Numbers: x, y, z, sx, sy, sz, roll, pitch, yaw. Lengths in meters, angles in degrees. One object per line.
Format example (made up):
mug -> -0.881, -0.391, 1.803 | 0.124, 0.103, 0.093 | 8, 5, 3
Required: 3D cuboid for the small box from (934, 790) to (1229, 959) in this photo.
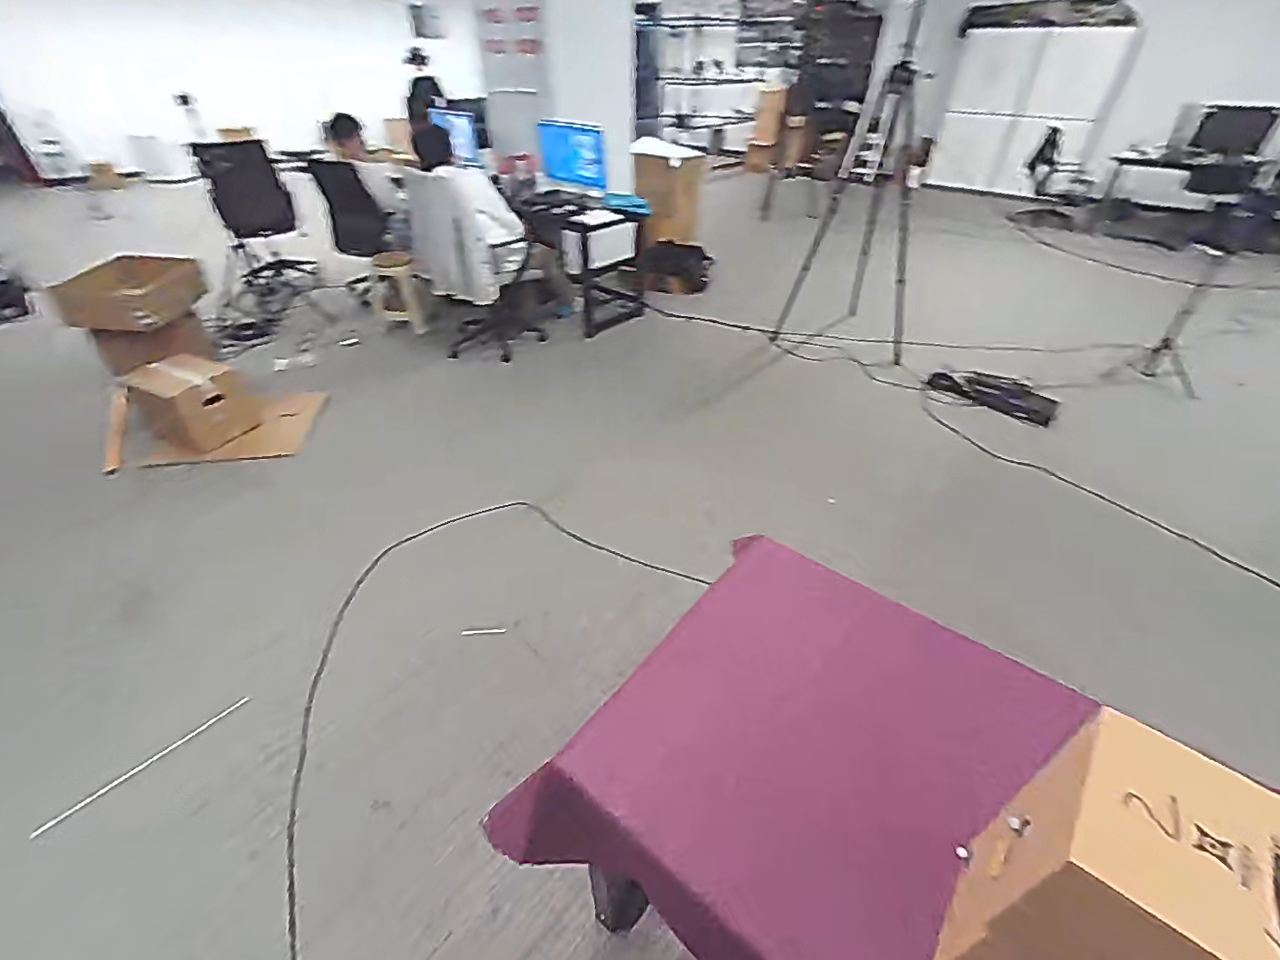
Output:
small box -> 0.430, 0.471, 0.547 | 0.179, 0.176, 0.168 | 28, 46, 30
